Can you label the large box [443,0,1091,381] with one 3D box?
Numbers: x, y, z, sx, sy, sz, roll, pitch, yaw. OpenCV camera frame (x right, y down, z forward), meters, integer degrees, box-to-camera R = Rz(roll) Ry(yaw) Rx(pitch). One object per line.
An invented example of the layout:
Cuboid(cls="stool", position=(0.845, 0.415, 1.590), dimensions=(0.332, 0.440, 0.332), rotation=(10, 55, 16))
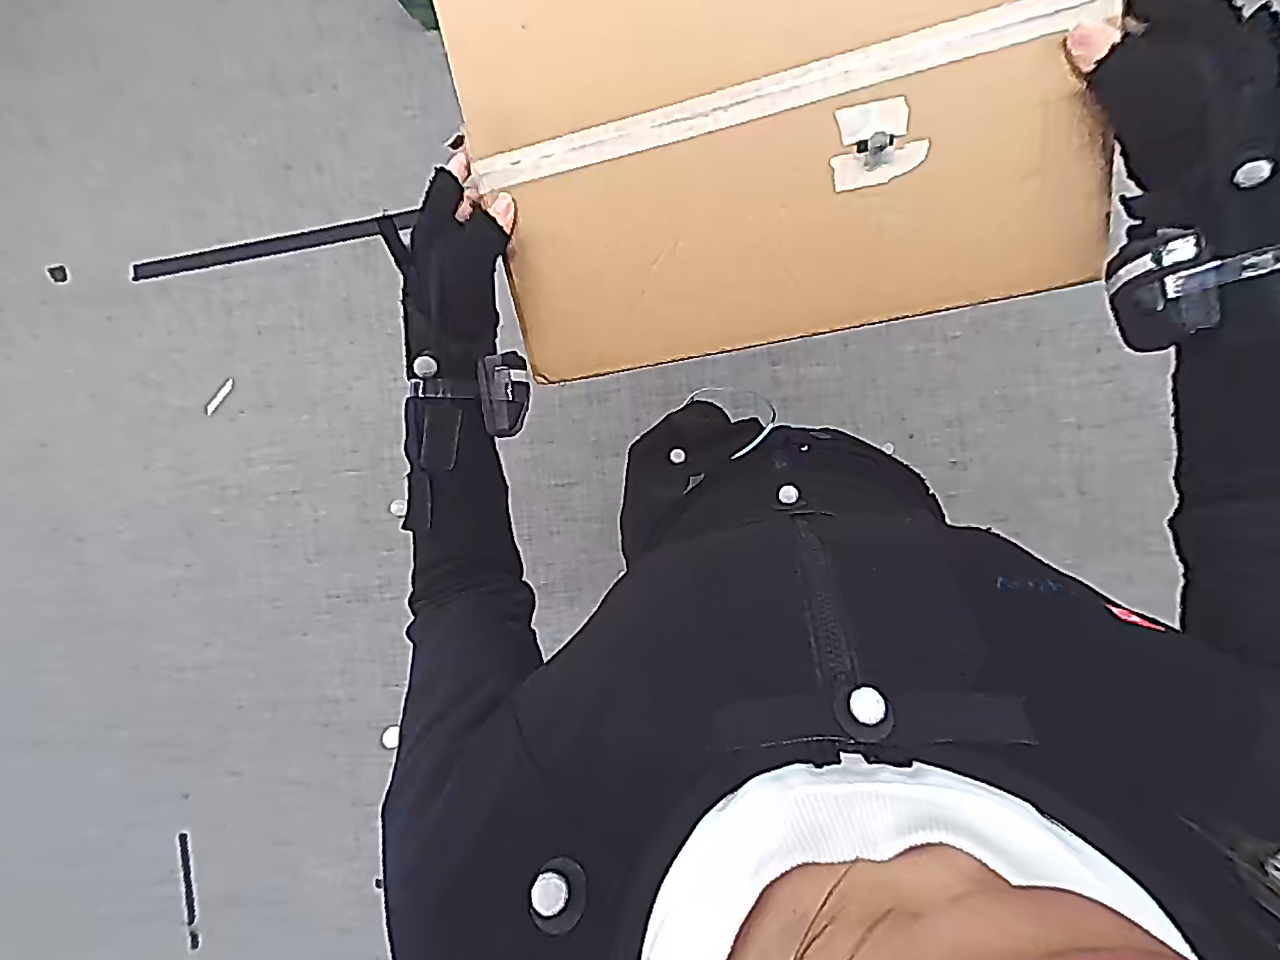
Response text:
Cuboid(cls="large box", position=(0.100, -0.304, 0.506), dimensions=(0.408, 0.320, 0.320), rotation=(-9, 108, 11))
